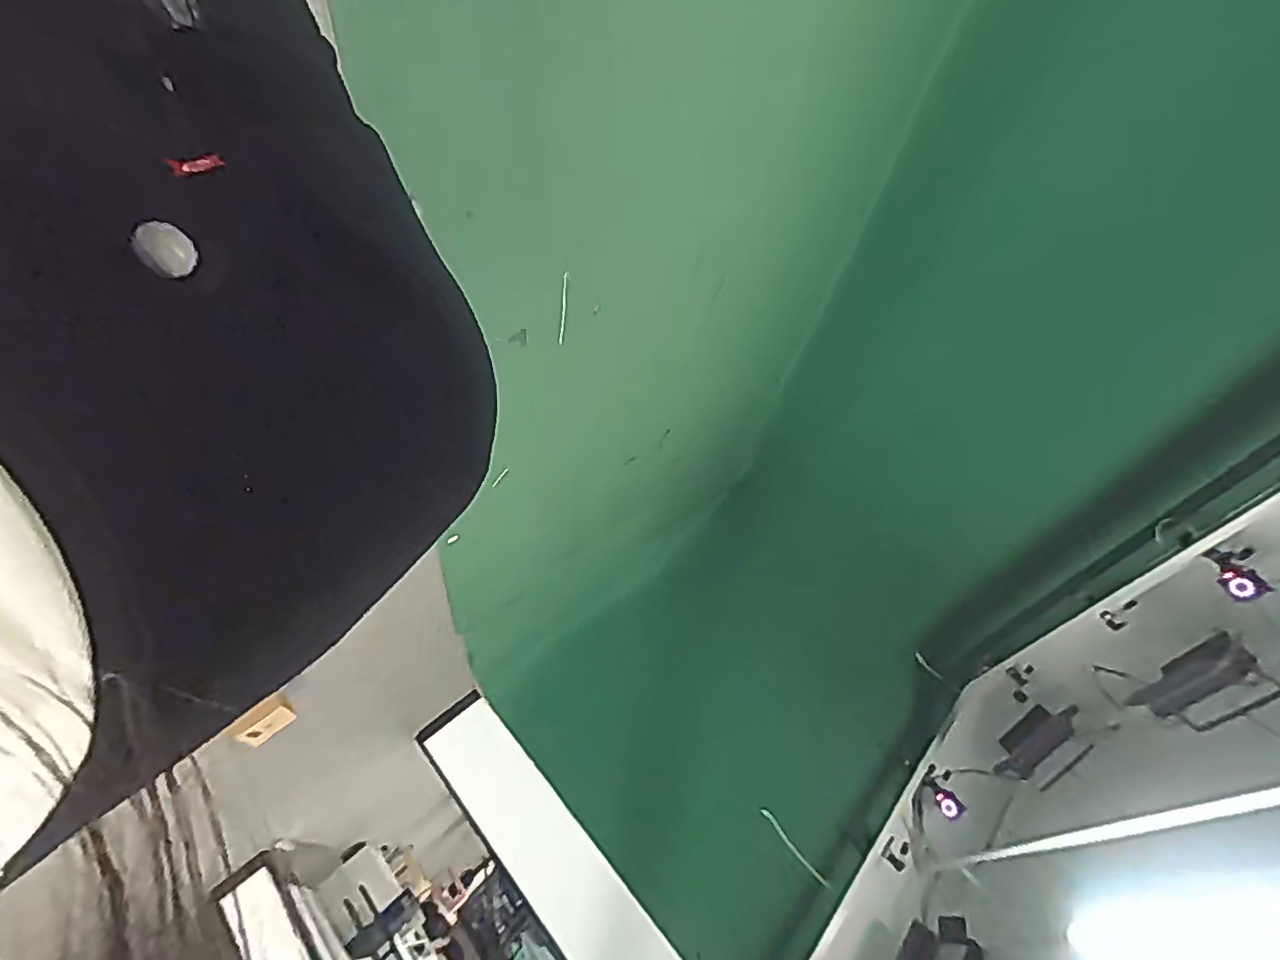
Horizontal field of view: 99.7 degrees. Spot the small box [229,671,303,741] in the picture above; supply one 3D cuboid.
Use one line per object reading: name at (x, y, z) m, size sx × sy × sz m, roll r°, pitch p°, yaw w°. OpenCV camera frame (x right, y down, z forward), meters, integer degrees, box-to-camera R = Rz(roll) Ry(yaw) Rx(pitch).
small box at (-1.507, 0.906, 2.169) m, size 0.179 × 0.176 × 0.168 m, roll -37°, pitch 154°, yaw -25°
